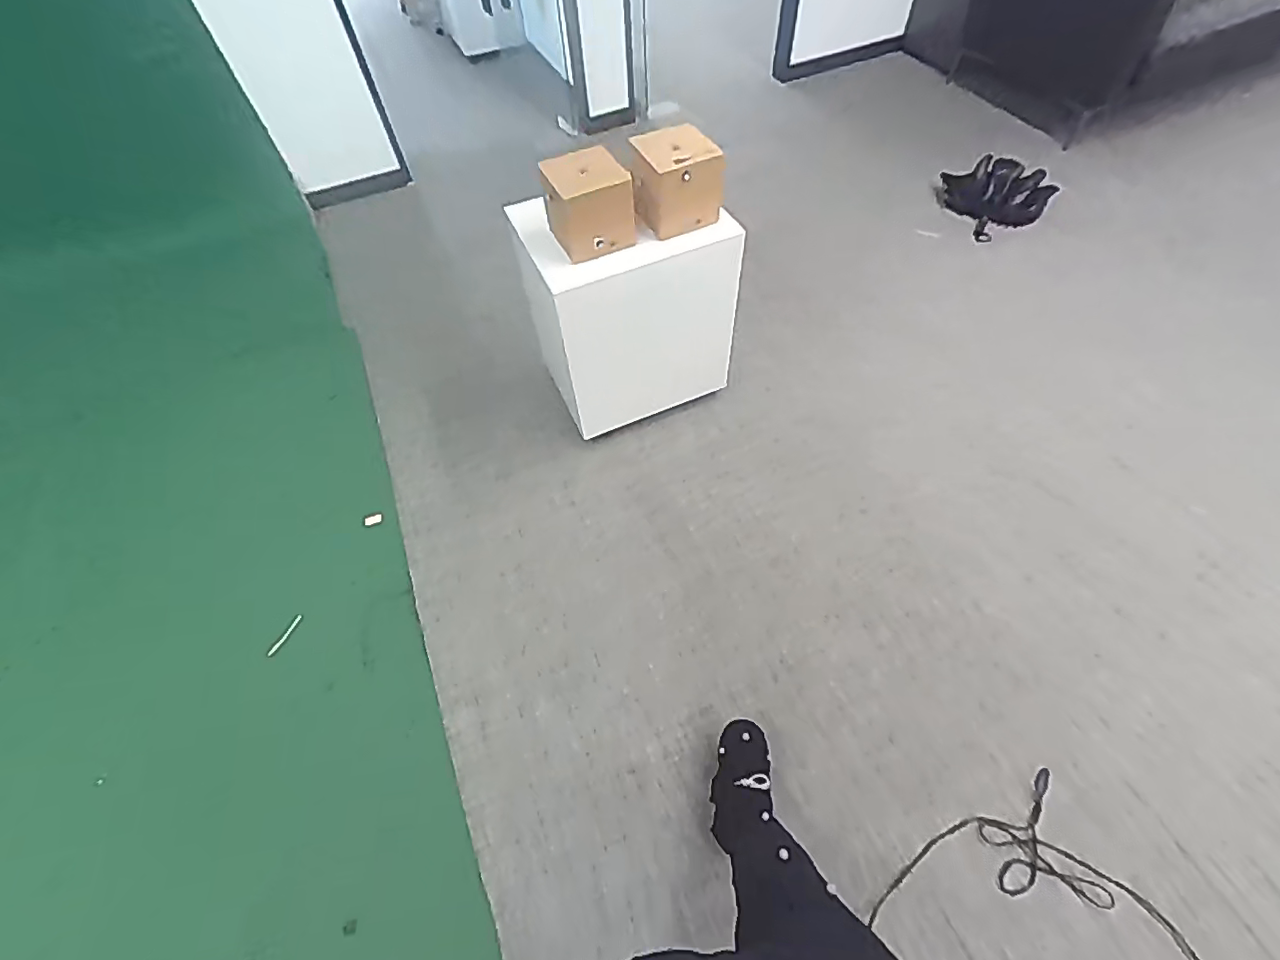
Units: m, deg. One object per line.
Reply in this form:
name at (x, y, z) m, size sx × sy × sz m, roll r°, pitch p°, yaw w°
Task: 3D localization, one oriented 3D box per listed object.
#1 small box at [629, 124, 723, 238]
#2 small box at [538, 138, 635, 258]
small box at (0.084, -0.723, 1.313) m, size 0.168 × 0.176 × 0.179 m, roll -22°, pitch 58°, yaw -11°
small box at (-0.121, -0.656, 1.267) m, size 0.168 × 0.176 × 0.179 m, roll -24°, pitch 61°, yaw -11°
